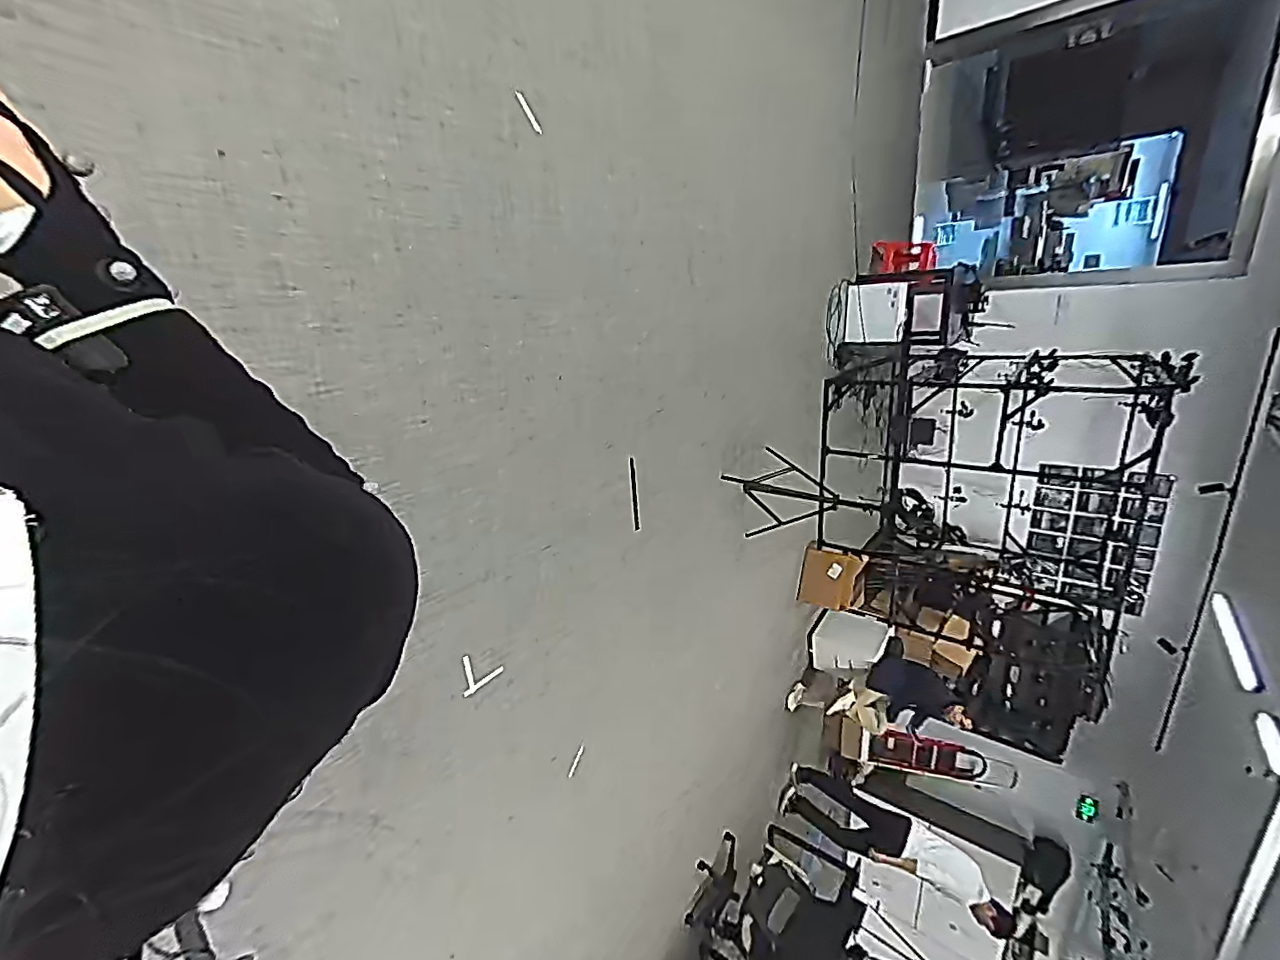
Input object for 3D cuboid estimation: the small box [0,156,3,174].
[{"bbox_3d":[-0.432,-0.222,0.229,0.179,0.176,0.168,-22,120,-49],"label":"small box"}]
